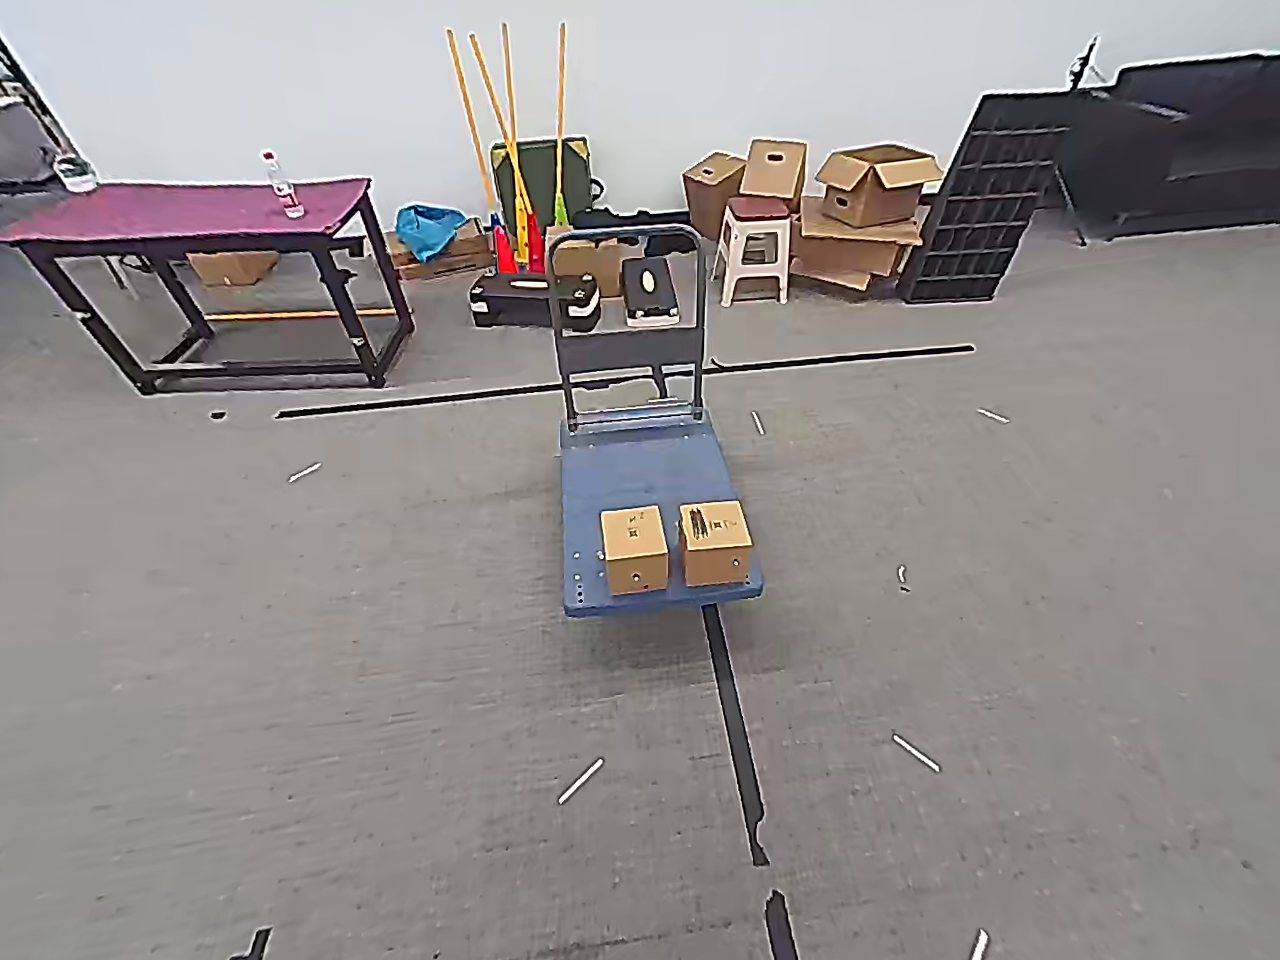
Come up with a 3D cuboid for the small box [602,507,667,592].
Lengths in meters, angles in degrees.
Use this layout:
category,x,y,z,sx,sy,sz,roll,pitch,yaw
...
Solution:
category,x,y,z,sx,sy,sz,roll,pitch,yaw
small box,-0.014,0.202,1.533,0.168,0.176,0.179,-6,44,-4
